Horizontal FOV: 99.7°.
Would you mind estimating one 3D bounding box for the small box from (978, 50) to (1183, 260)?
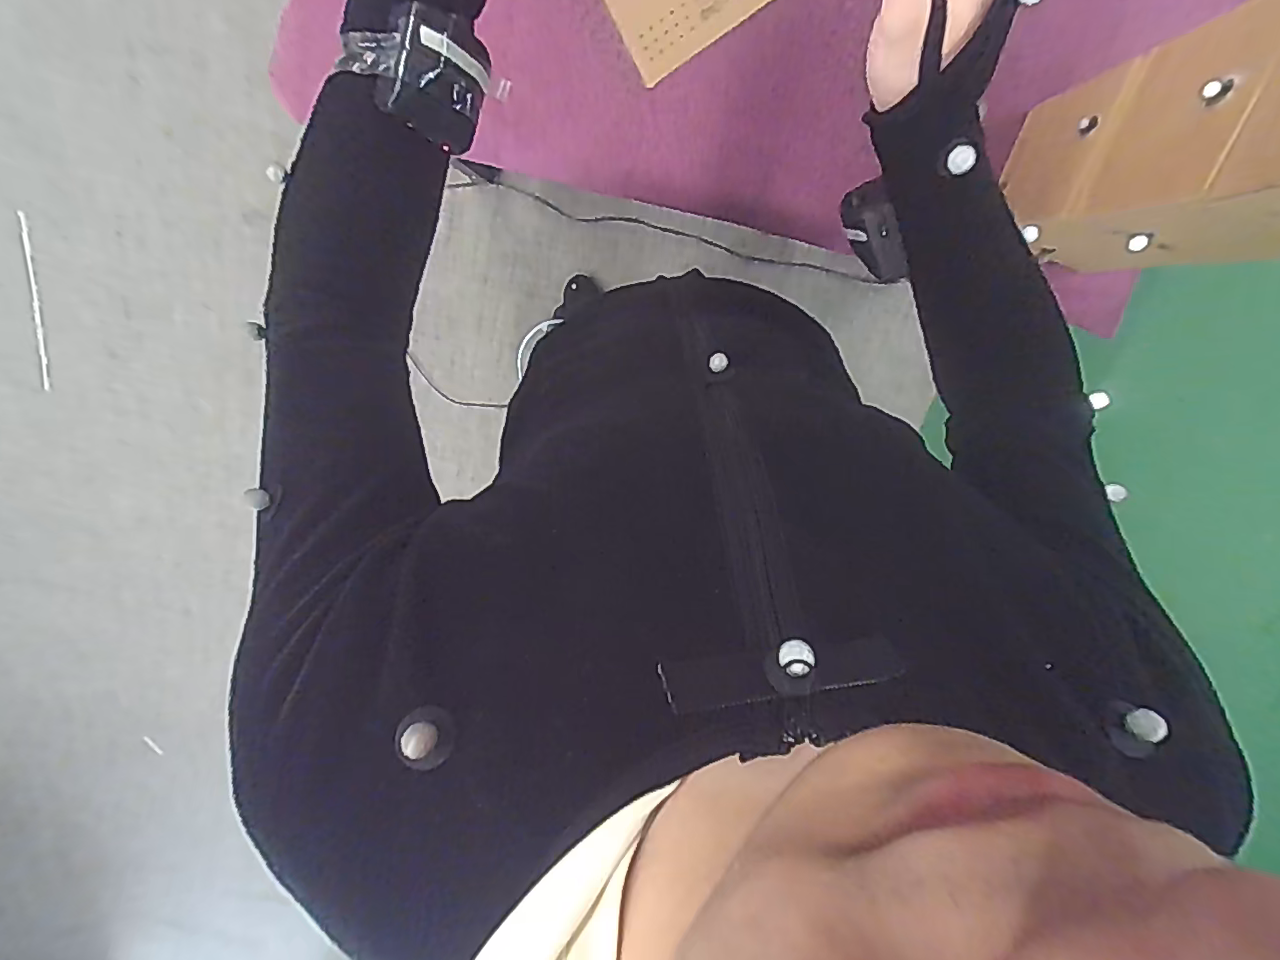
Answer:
[{"bbox_3d":[0.582,-0.385,0.679,0.179,0.176,0.168,16,107,-6],"label":"small box"}]

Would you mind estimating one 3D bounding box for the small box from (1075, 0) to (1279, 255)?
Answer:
[{"bbox_3d":[0.586,-0.335,0.524,0.168,0.176,0.179,16,108,-4],"label":"small box"}]
